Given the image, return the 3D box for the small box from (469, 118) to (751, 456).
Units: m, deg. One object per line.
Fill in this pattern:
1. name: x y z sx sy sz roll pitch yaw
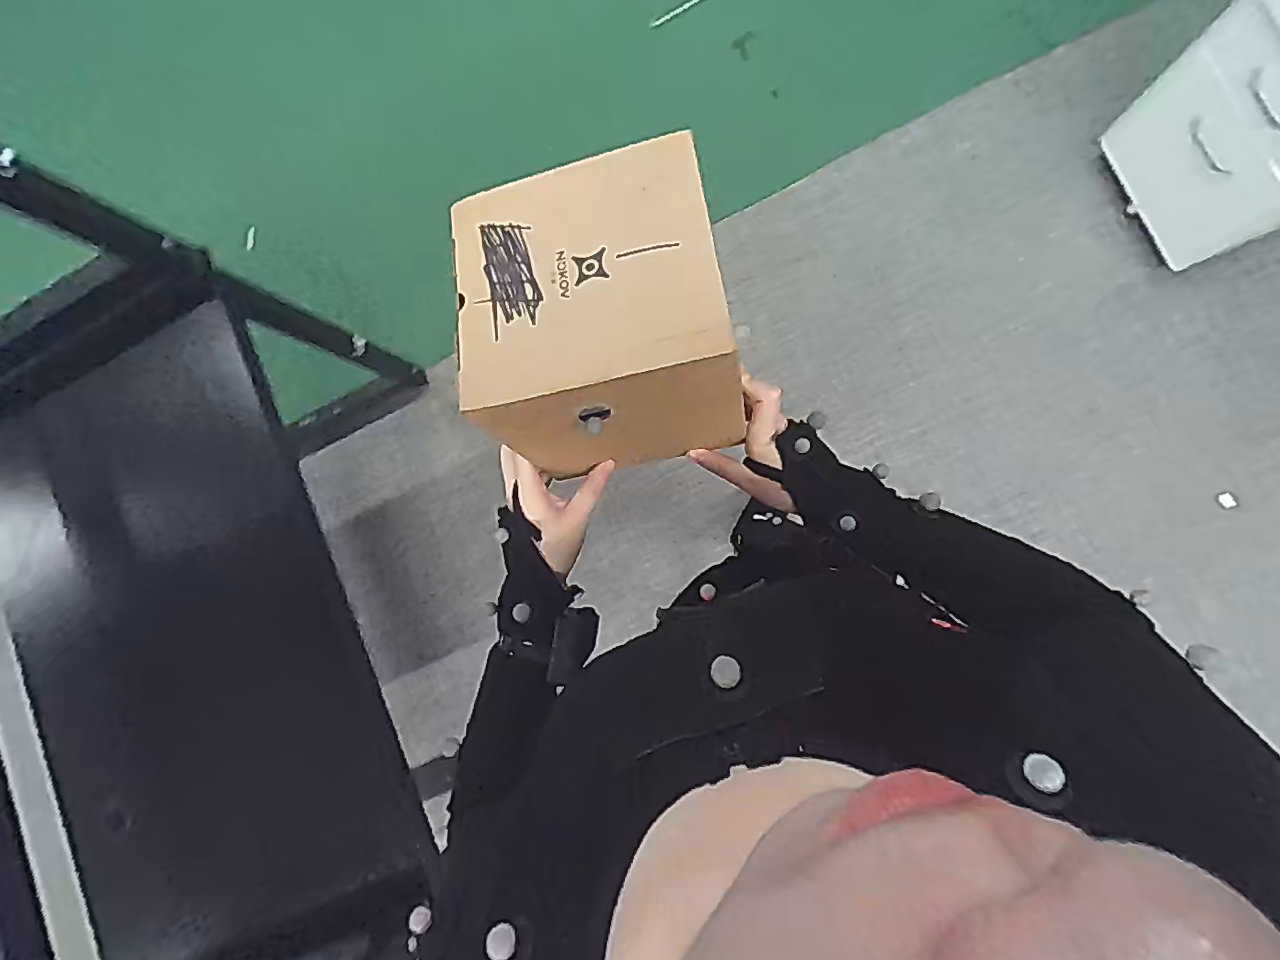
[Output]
1. small box: -0.013 -0.128 0.424 0.179 0.176 0.168 -10 74 9
